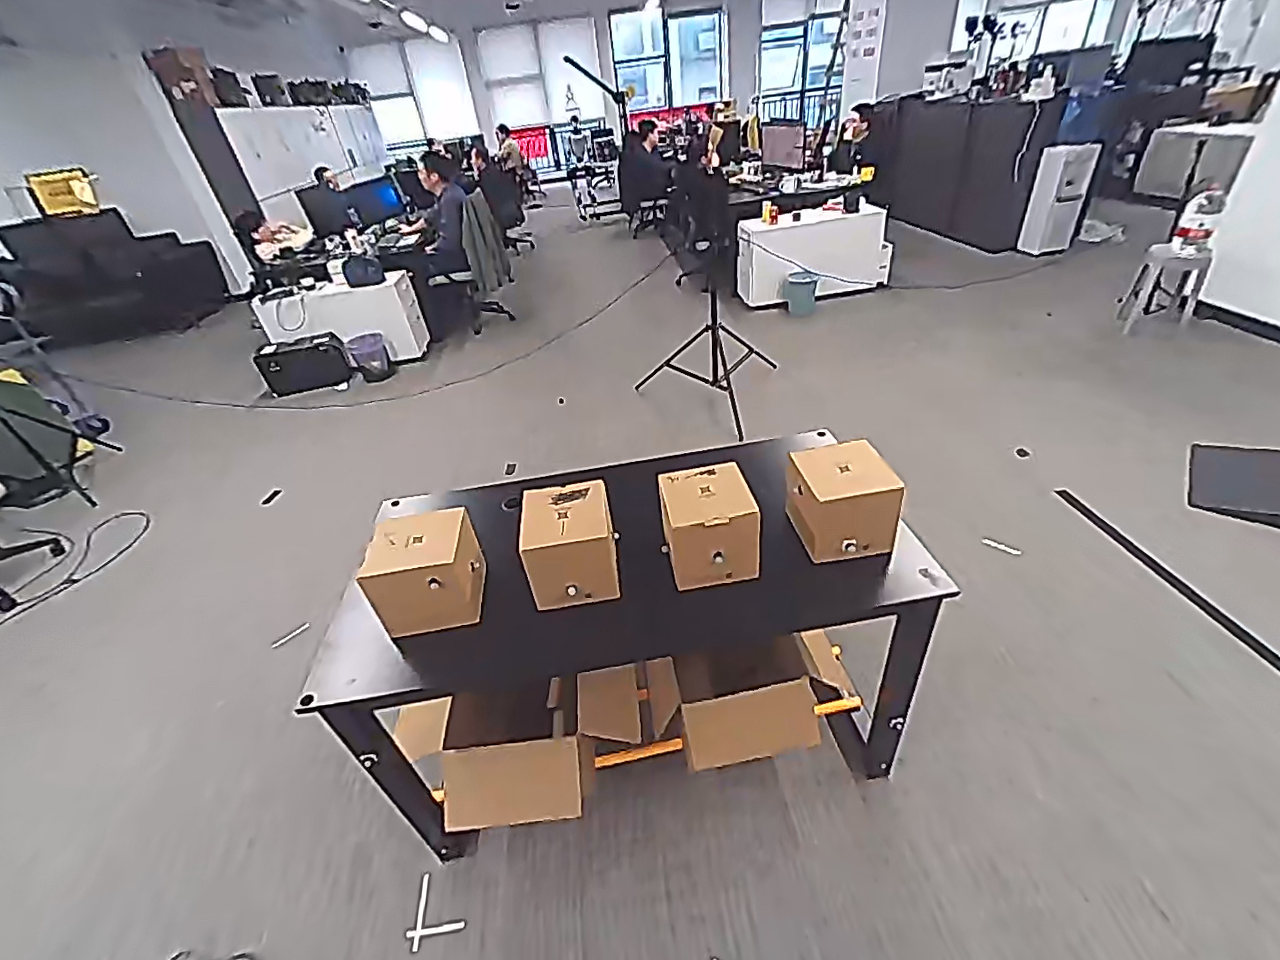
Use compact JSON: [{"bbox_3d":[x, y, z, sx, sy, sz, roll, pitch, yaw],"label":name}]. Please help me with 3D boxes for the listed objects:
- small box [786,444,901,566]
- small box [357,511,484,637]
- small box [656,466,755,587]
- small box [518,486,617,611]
[{"bbox_3d":[0.405,0.050,1.111,0.168,0.176,0.179,-10,36,-1],"label":"small box"},{"bbox_3d":[-0.422,0.187,1.075,0.179,0.176,0.168,-10,35,-3],"label":"small box"},{"bbox_3d":[0.132,0.099,1.097,0.168,0.176,0.179,-10,36,-2],"label":"small box"},{"bbox_3d":[-0.141,0.137,1.094,0.168,0.176,0.179,-9,36,-1],"label":"small box"}]
